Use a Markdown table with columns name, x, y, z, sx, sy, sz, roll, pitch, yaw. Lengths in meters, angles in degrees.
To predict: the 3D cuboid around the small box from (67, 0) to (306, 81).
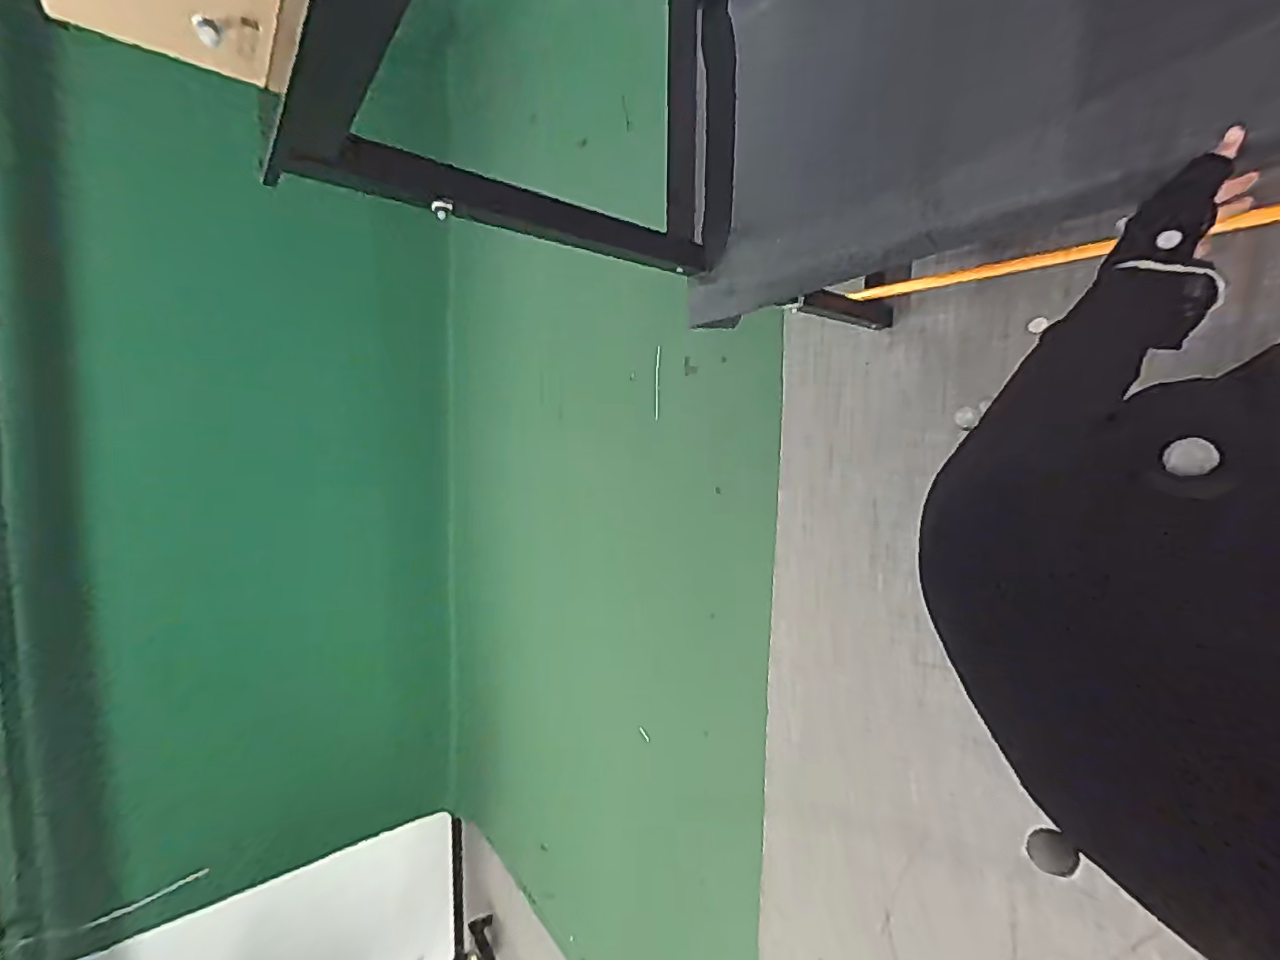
| name | x | y | z | sx | sy | sz | roll | pitch | yaw |
| --- | --- | --- | --- | --- | --- | --- | --- | --- | --- |
| small box | -0.412 | -0.514 | 0.484 | 0.168 | 0.176 | 0.179 | 5 | 97 | 51 |
